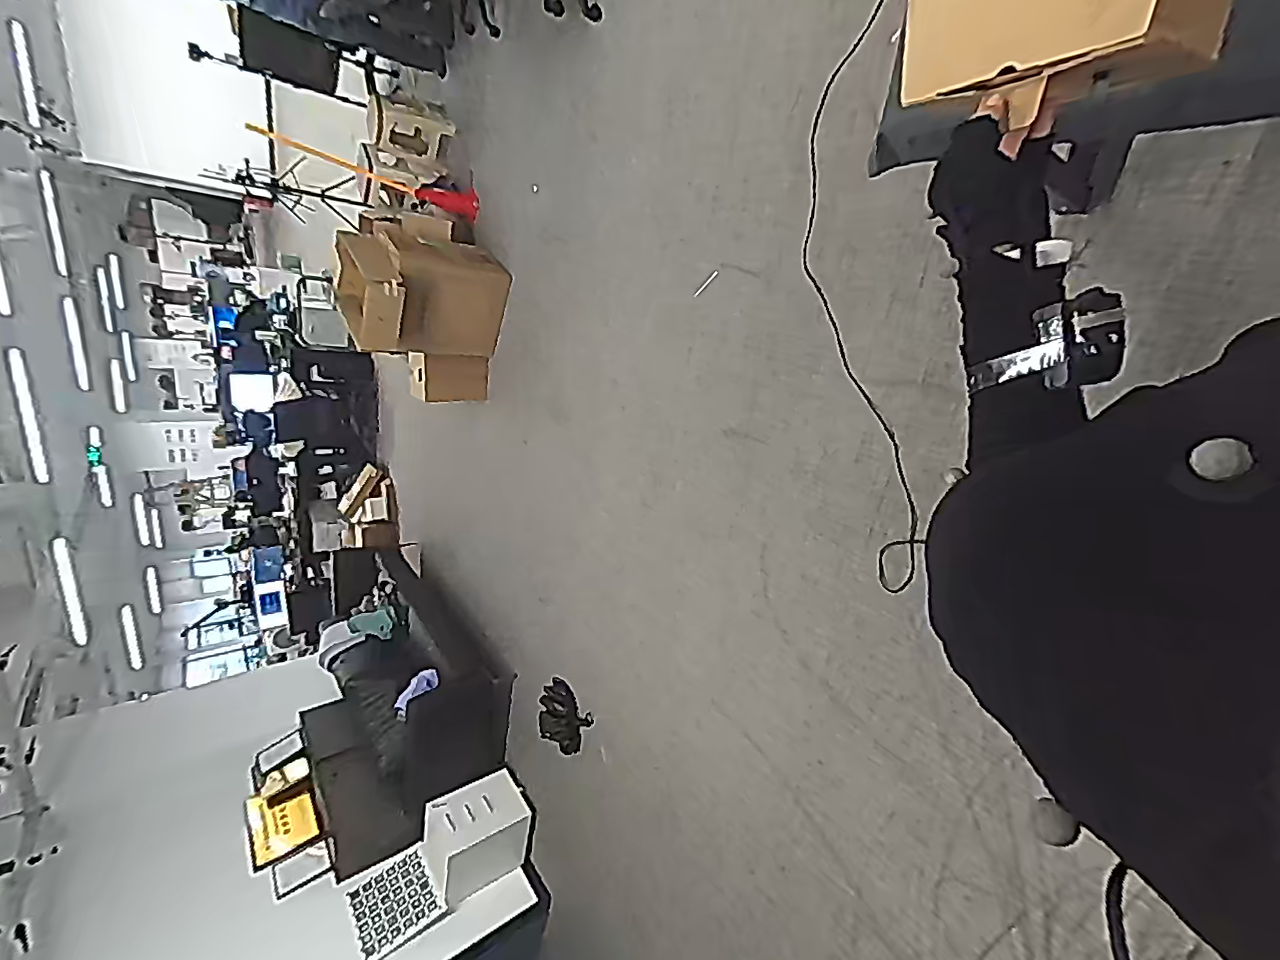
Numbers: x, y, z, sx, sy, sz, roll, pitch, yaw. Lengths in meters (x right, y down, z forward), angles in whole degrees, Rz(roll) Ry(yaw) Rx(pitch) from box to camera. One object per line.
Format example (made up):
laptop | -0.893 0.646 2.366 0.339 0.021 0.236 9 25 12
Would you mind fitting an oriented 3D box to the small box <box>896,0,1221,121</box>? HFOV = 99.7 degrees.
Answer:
small box | 0.324 -0.394 0.413 0.168 0.176 0.179 22 124 50
